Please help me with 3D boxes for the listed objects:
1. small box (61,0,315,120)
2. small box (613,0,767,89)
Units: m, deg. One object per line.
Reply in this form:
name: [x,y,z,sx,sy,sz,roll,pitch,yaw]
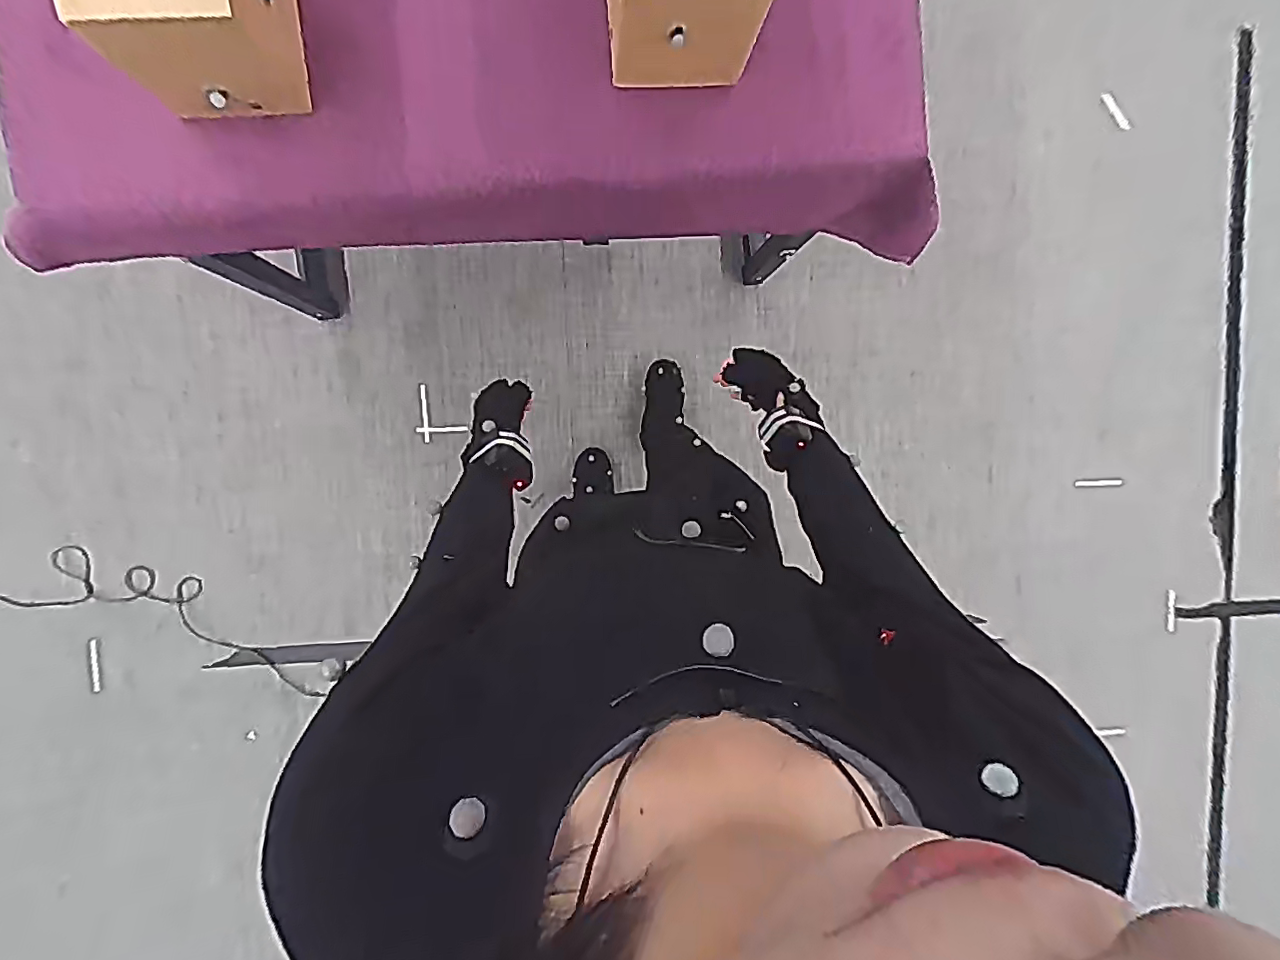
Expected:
small box: [-0.503,-0.550,0.616,0.168,0.176,0.179,-6,95,-5]
small box: [0.055,-0.619,0.668,0.179,0.176,0.168,-5,94,-4]
